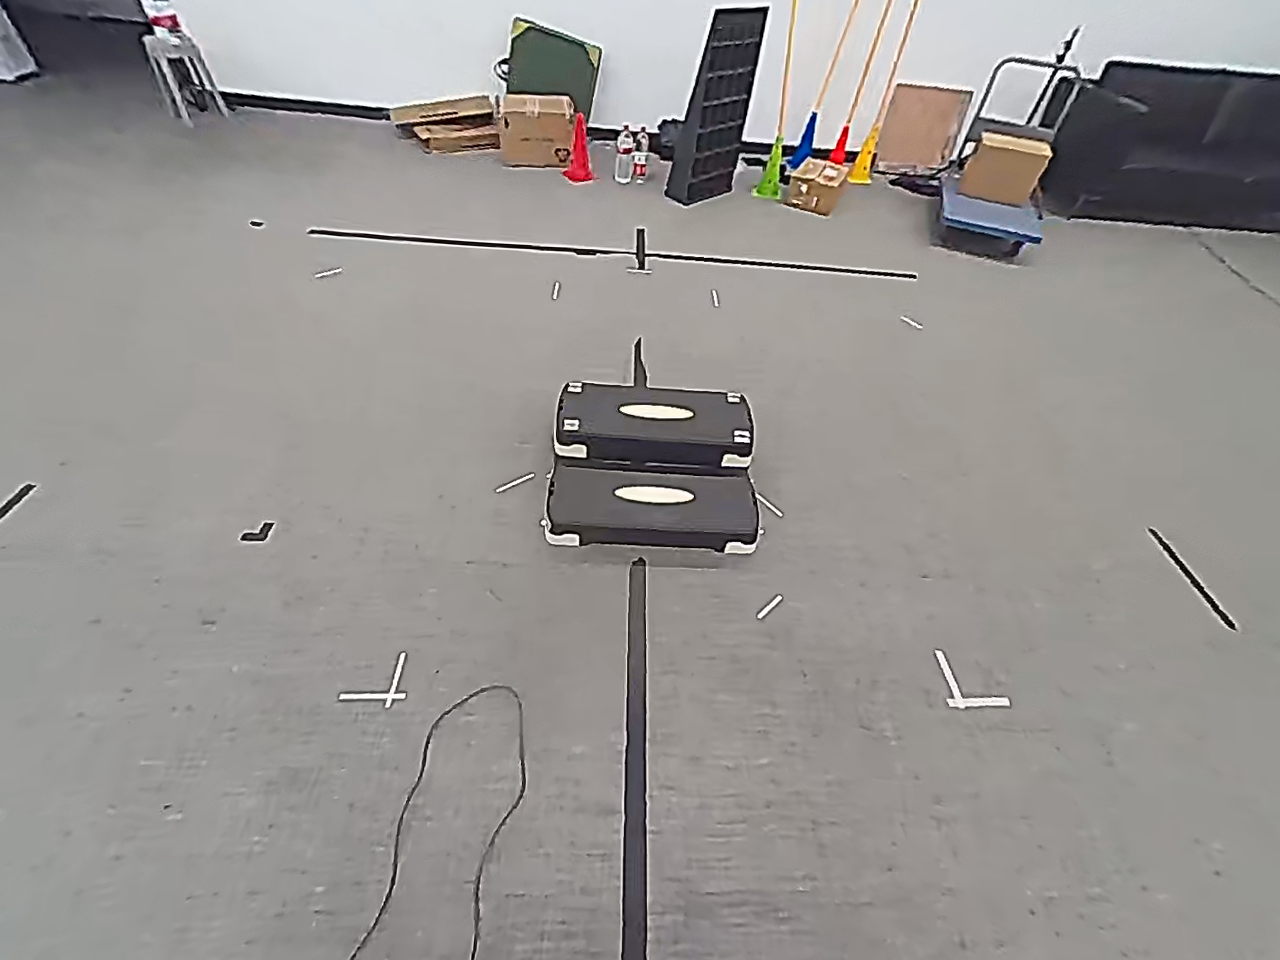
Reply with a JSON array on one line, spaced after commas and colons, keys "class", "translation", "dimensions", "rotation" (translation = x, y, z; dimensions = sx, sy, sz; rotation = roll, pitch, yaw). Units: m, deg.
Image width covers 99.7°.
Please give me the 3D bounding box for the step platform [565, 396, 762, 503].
[{"class": "step platform", "translation": [0.082, -0.113, 1.907], "dimensions": [0.684, 0.204, 0.286], "rotation": [7, 46, -1]}]
